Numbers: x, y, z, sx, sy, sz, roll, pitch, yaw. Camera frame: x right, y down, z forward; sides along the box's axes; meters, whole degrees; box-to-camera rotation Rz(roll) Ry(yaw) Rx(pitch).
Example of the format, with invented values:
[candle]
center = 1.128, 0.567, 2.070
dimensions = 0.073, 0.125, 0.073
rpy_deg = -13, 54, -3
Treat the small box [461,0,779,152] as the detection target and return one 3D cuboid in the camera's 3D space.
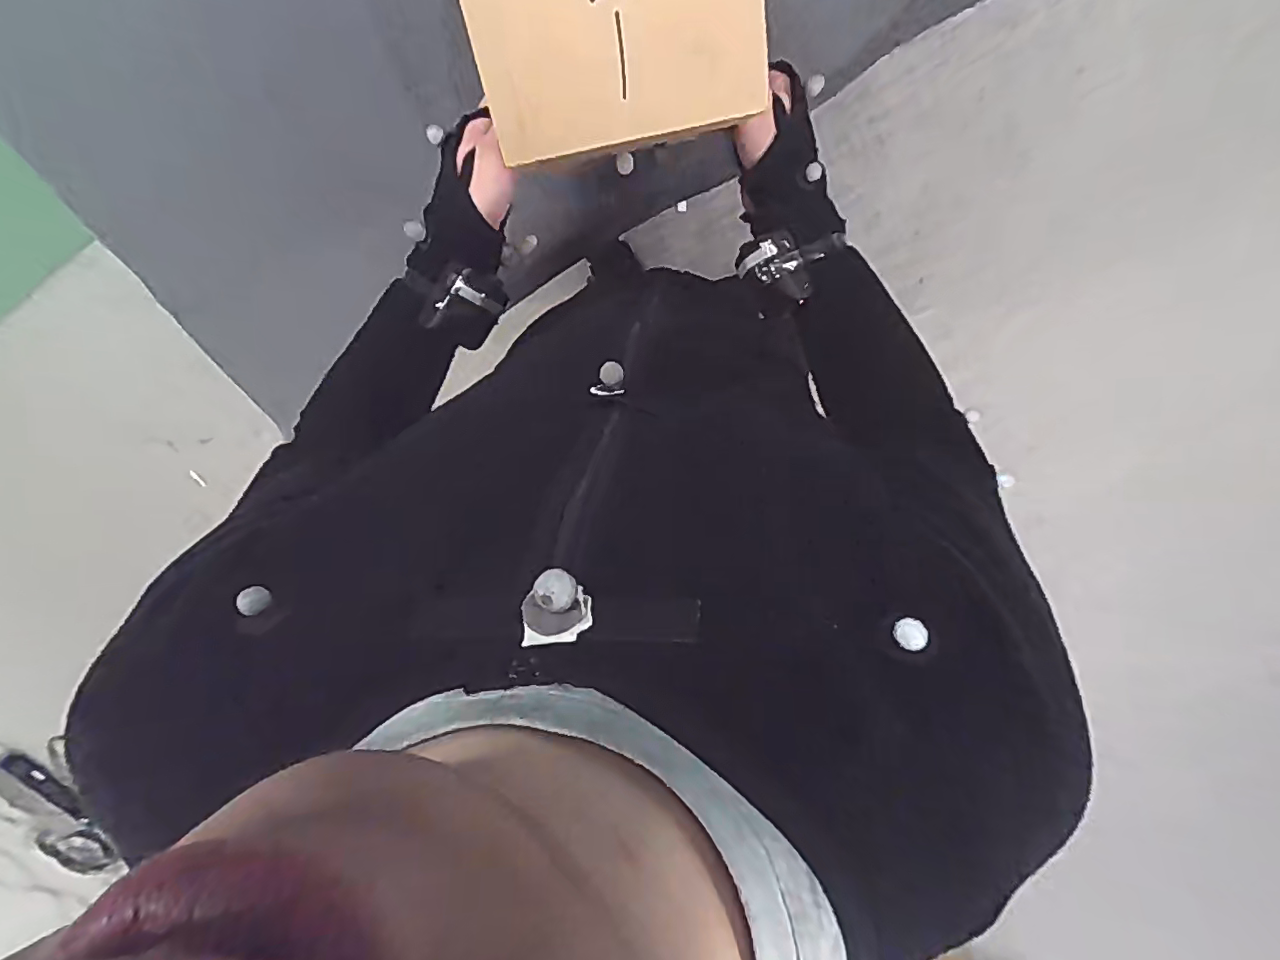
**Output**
[small box]
center = -0.021, -0.318, 0.332
dimensions = 0.168, 0.176, 0.179
rpy_deg = -10, 120, 3
